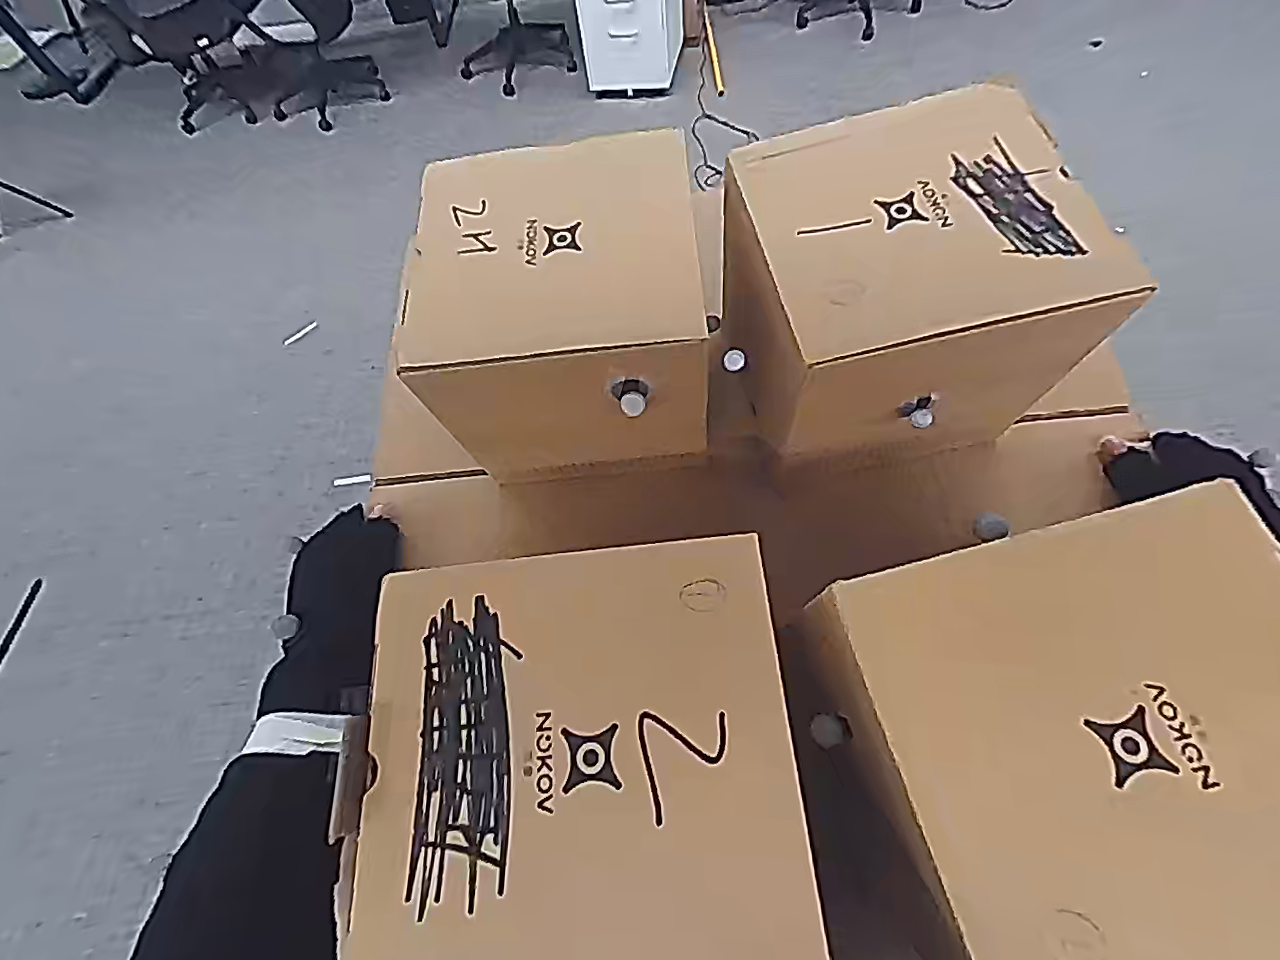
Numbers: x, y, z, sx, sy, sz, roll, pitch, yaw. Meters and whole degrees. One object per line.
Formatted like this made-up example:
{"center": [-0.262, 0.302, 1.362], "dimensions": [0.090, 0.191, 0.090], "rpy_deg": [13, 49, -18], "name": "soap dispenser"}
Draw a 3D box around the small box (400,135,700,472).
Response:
{"center": [-0.047, -0.116, 0.409], "dimensions": [0.179, 0.176, 0.168], "rpy_deg": [-5, 67, 6], "name": "small box"}
